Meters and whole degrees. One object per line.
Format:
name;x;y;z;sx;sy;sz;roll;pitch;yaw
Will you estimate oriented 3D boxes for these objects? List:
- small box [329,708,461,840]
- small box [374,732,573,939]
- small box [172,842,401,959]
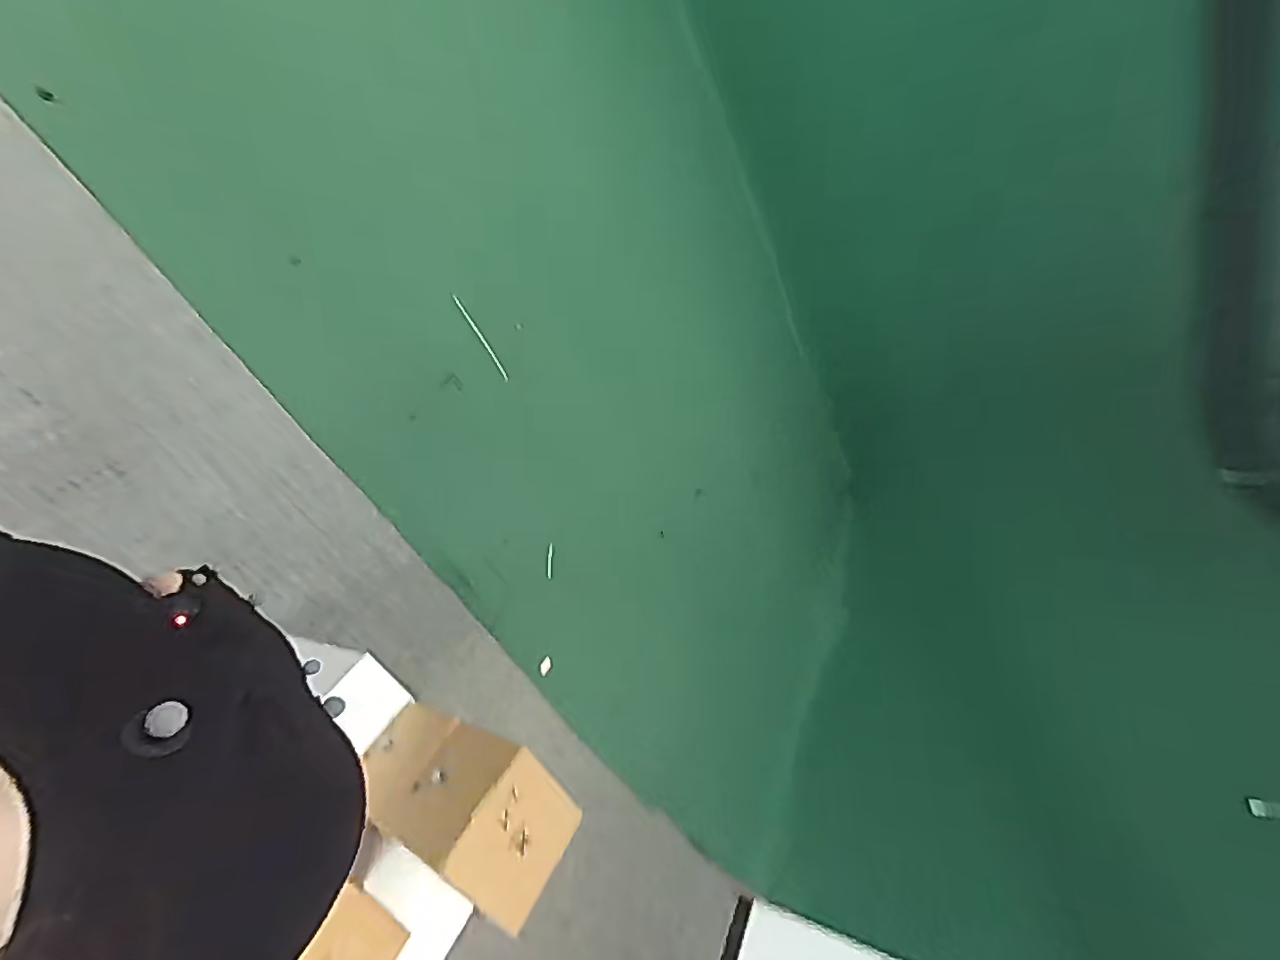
small box;-0.361;0.502;0.885;0.168;0.176;0.179;-51;122;-40
small box;-0.236;0.494;0.777;0.168;0.176;0.179;-50;122;-41
small box;-0.474;0.634;0.732;0.168;0.176;0.179;-51;122;-42
